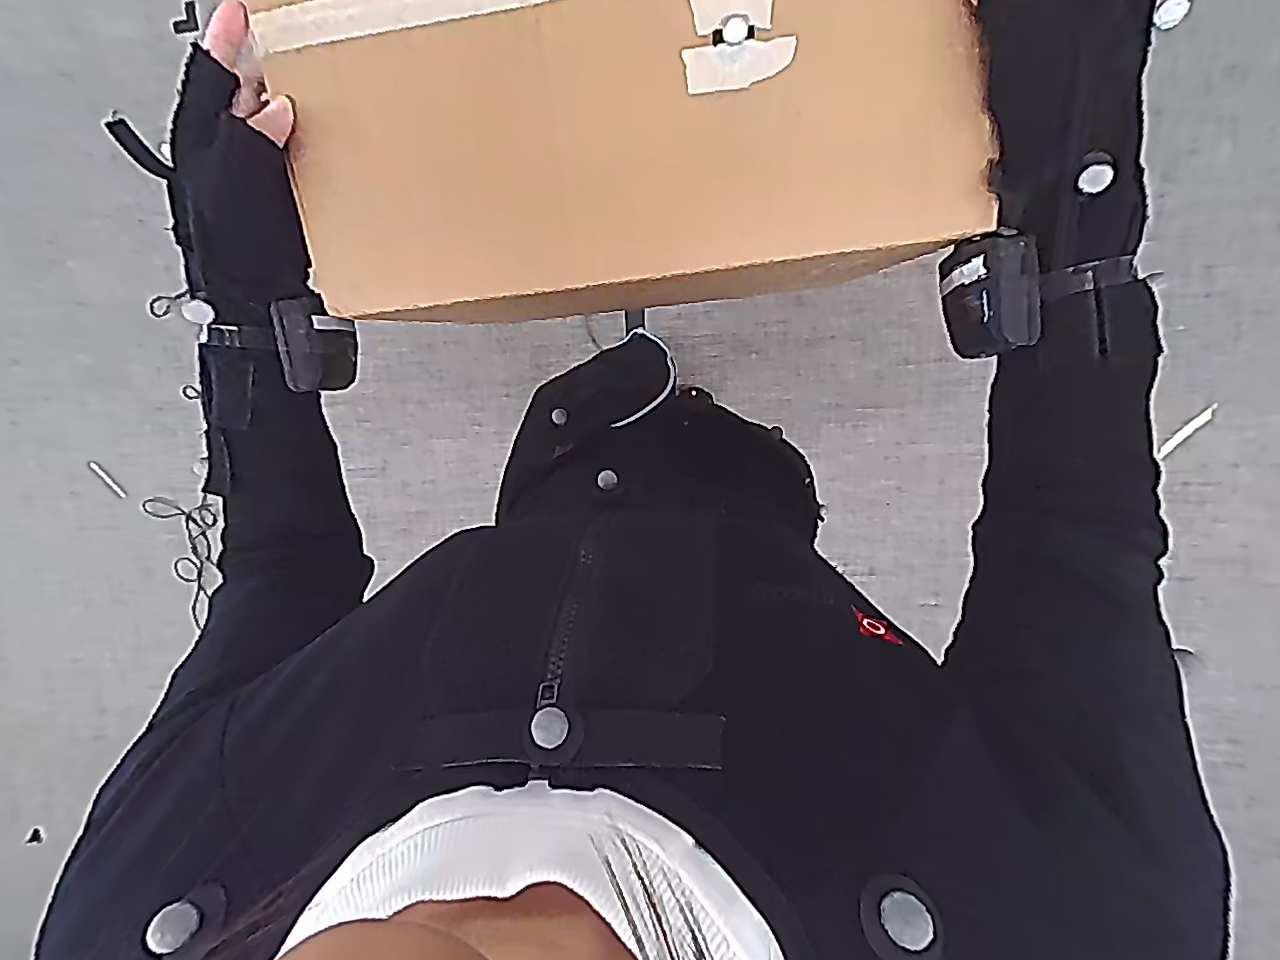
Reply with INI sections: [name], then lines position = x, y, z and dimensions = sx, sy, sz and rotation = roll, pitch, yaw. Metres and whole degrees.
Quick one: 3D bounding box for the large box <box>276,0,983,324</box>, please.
[large box]
position = -0.006, -0.316, 0.445
dimensions = 0.408, 0.320, 0.320
rotation = -5, 105, 6
